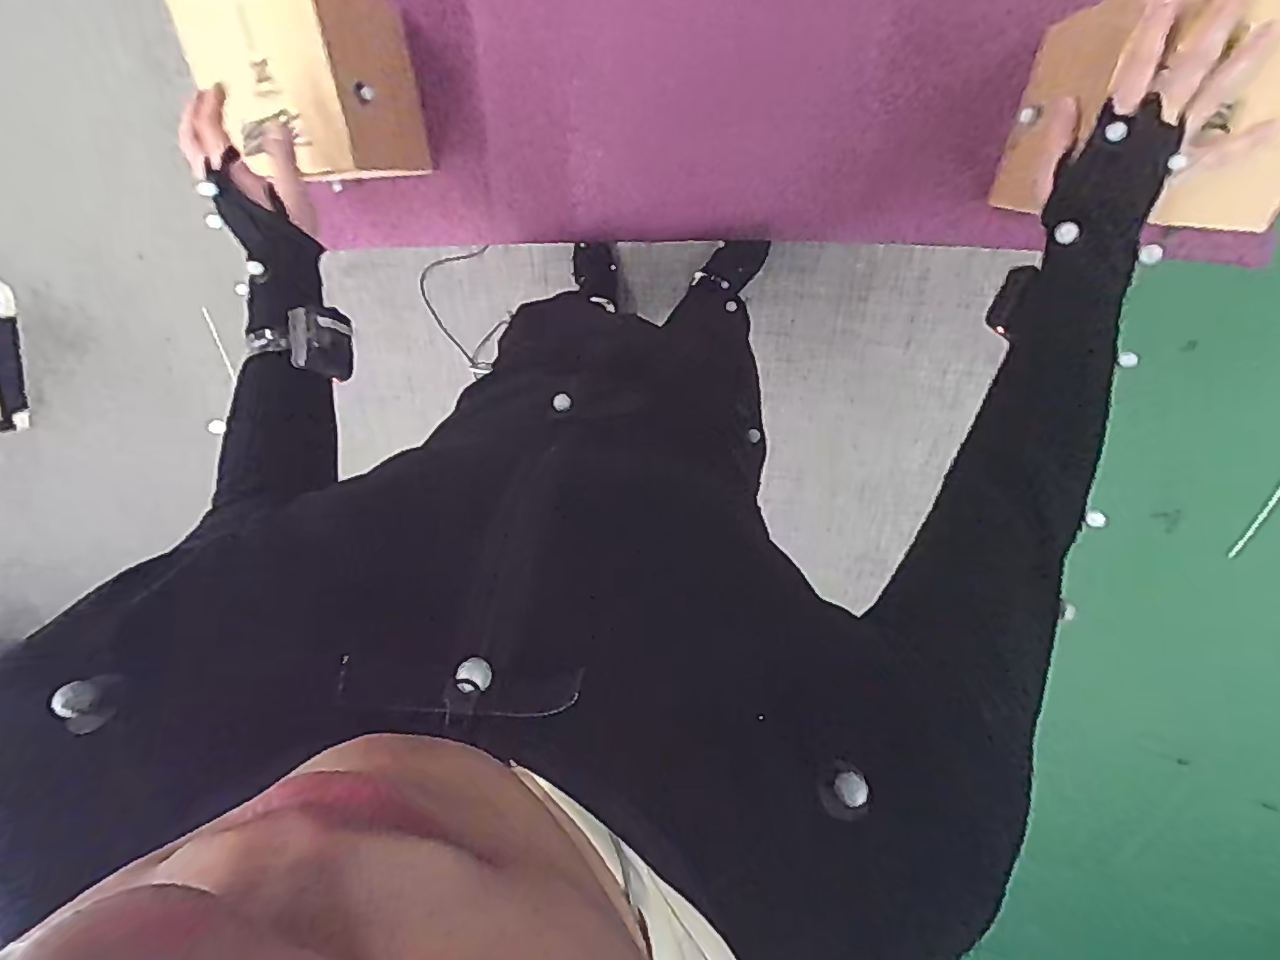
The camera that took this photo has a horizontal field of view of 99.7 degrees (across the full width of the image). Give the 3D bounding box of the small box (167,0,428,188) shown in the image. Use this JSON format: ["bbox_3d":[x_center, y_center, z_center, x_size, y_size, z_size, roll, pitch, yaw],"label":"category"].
[{"bbox_3d":[-0.375,-0.448,0.634,0.168,0.176,0.179,2,119,11],"label":"small box"}]

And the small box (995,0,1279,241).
[{"bbox_3d":[0.480,-0.330,0.505,0.179,0.176,0.168,10,121,8],"label":"small box"}]
